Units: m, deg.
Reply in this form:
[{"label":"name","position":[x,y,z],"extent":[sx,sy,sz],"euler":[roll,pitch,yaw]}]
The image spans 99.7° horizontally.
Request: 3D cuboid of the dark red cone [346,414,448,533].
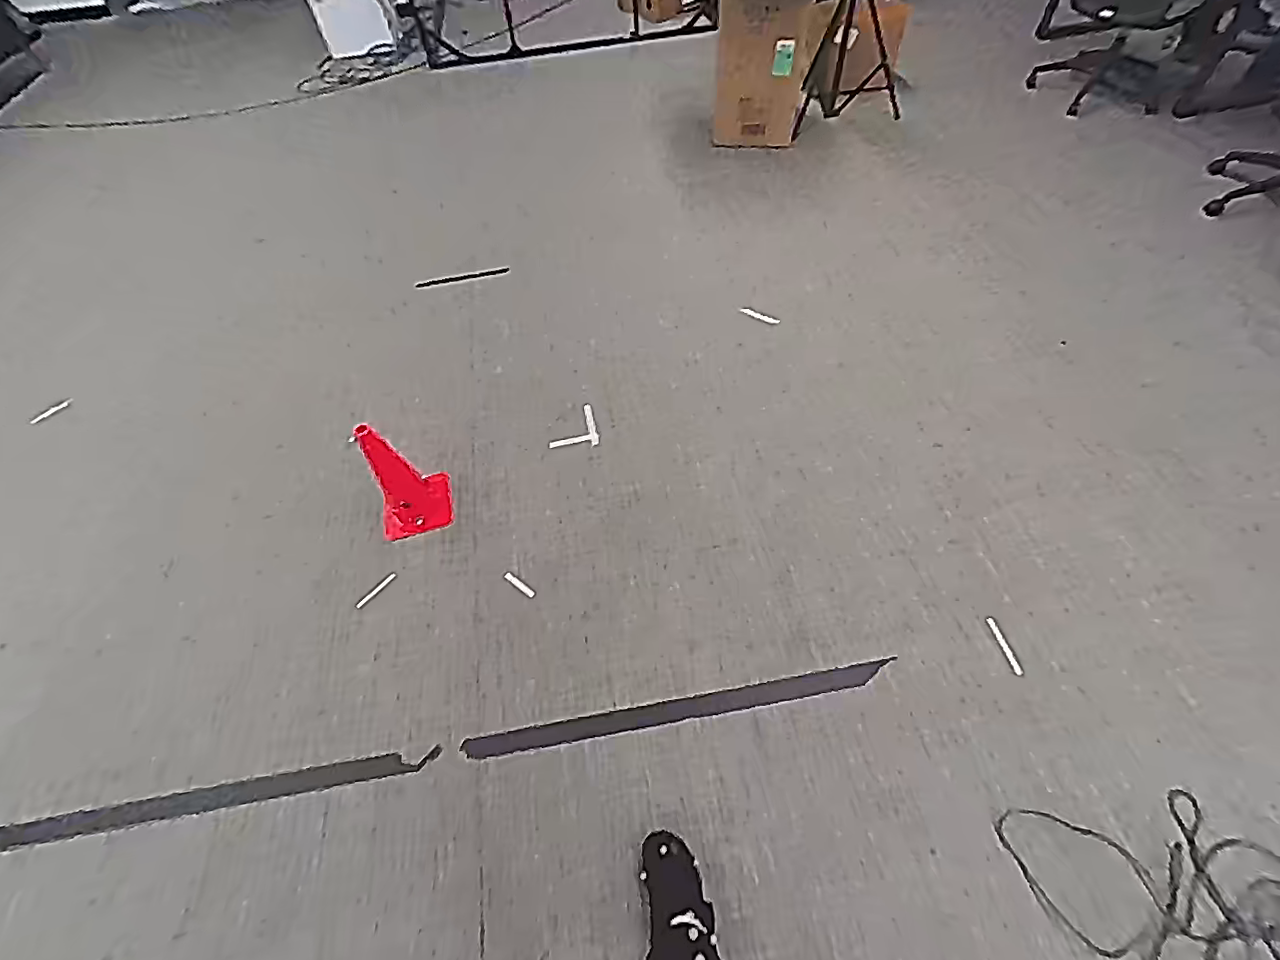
[{"label":"dark red cone","position":[-0.682,-0.036,1.459],"extent":[0.202,0.394,0.201],"euler":[-16,57,-7]}]
